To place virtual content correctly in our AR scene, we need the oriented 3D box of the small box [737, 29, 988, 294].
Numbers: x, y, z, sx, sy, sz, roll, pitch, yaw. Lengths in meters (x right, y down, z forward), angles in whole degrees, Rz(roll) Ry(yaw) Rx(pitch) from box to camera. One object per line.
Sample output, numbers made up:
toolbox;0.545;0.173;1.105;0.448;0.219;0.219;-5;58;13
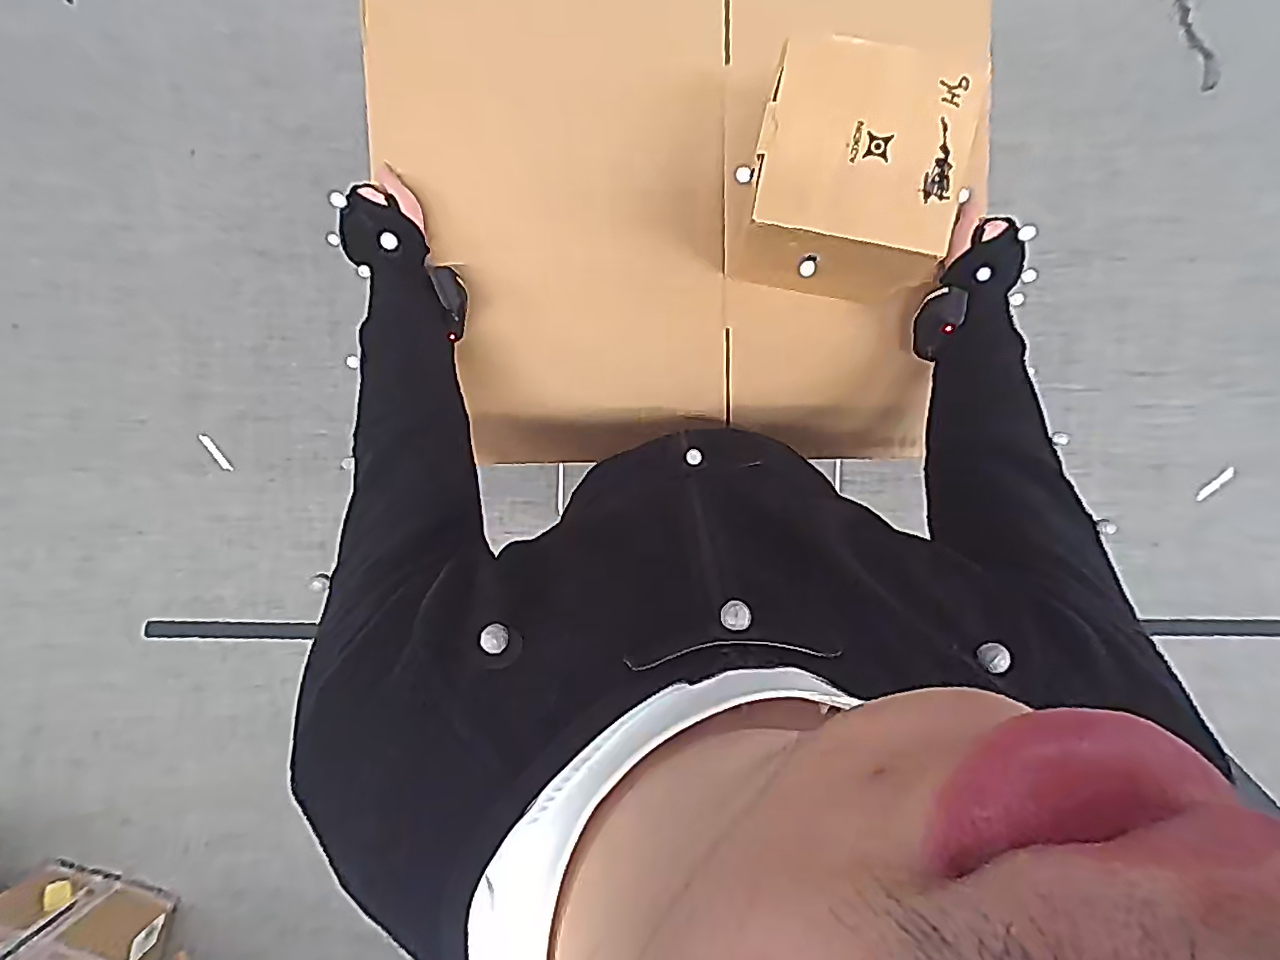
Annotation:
small box;0.204;-0.303;0.552;0.179;0.176;0.168;12;95;3
